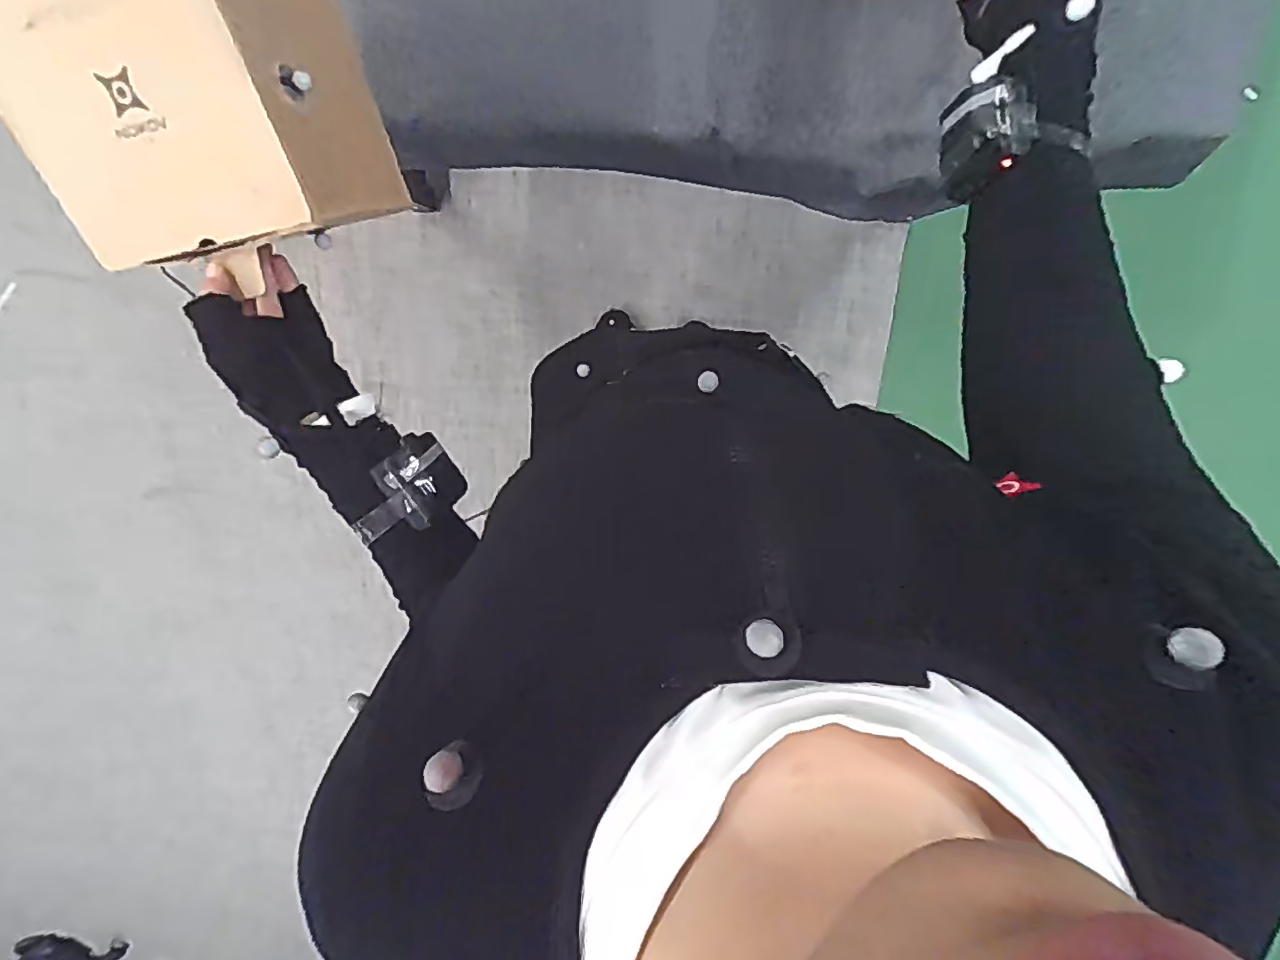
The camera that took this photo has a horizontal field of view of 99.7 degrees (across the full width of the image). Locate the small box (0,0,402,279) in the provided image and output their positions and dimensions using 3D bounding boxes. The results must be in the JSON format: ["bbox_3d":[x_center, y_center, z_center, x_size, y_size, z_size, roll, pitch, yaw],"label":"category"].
[{"bbox_3d":[-0.308,-0.266,0.394,0.168,0.176,0.179,-10,119,7],"label":"small box"}]
